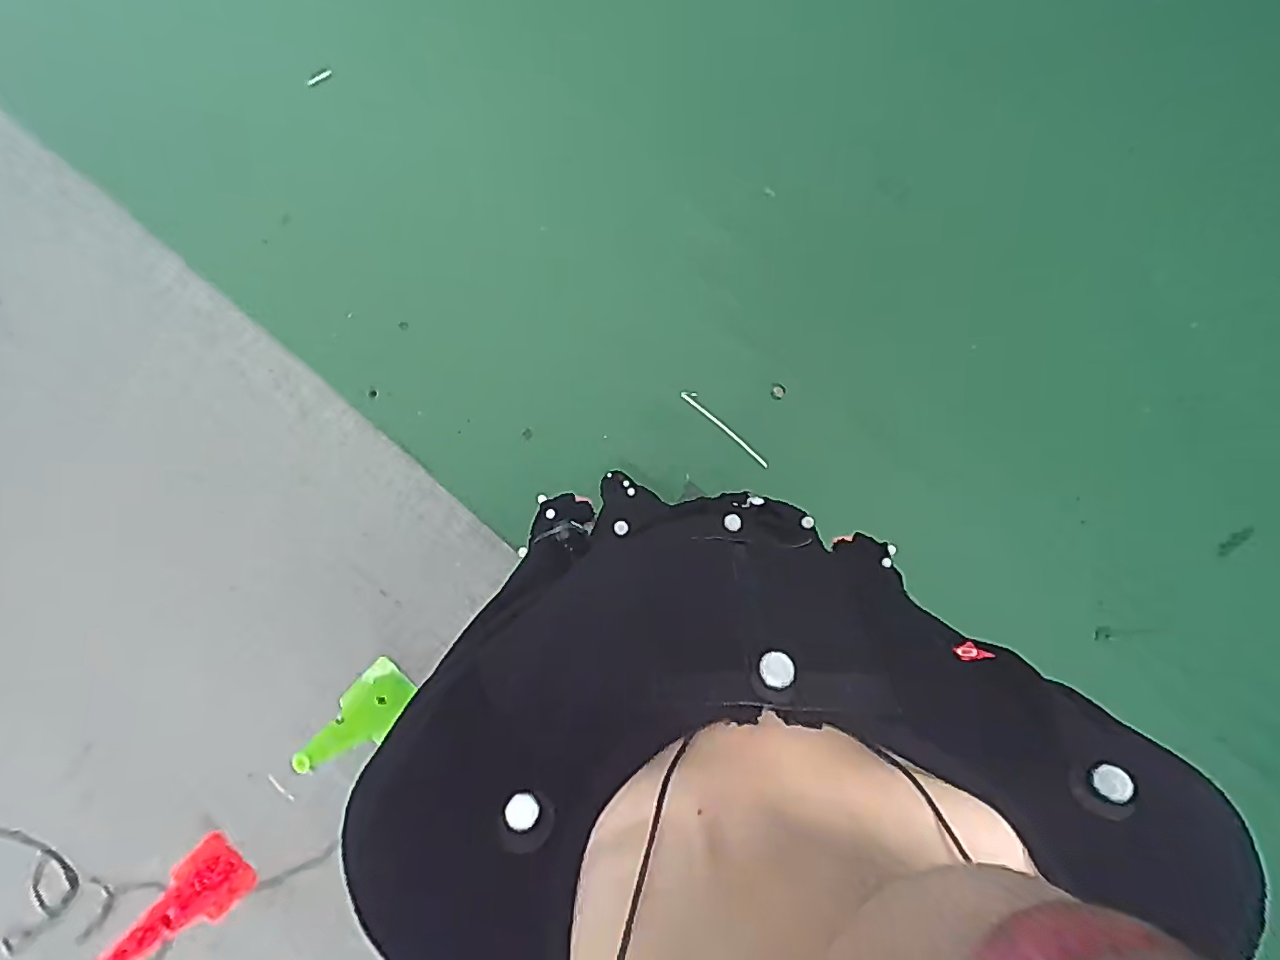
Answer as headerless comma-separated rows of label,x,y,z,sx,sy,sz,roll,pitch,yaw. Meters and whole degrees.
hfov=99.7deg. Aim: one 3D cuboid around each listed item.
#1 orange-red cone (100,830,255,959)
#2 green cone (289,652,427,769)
orange-red cone,-1.261,1.152,1.421,0.199,0.360,0.198,-45,88,1
green cone,-0.755,0.625,1.391,0.200,0.368,0.202,43,93,3
